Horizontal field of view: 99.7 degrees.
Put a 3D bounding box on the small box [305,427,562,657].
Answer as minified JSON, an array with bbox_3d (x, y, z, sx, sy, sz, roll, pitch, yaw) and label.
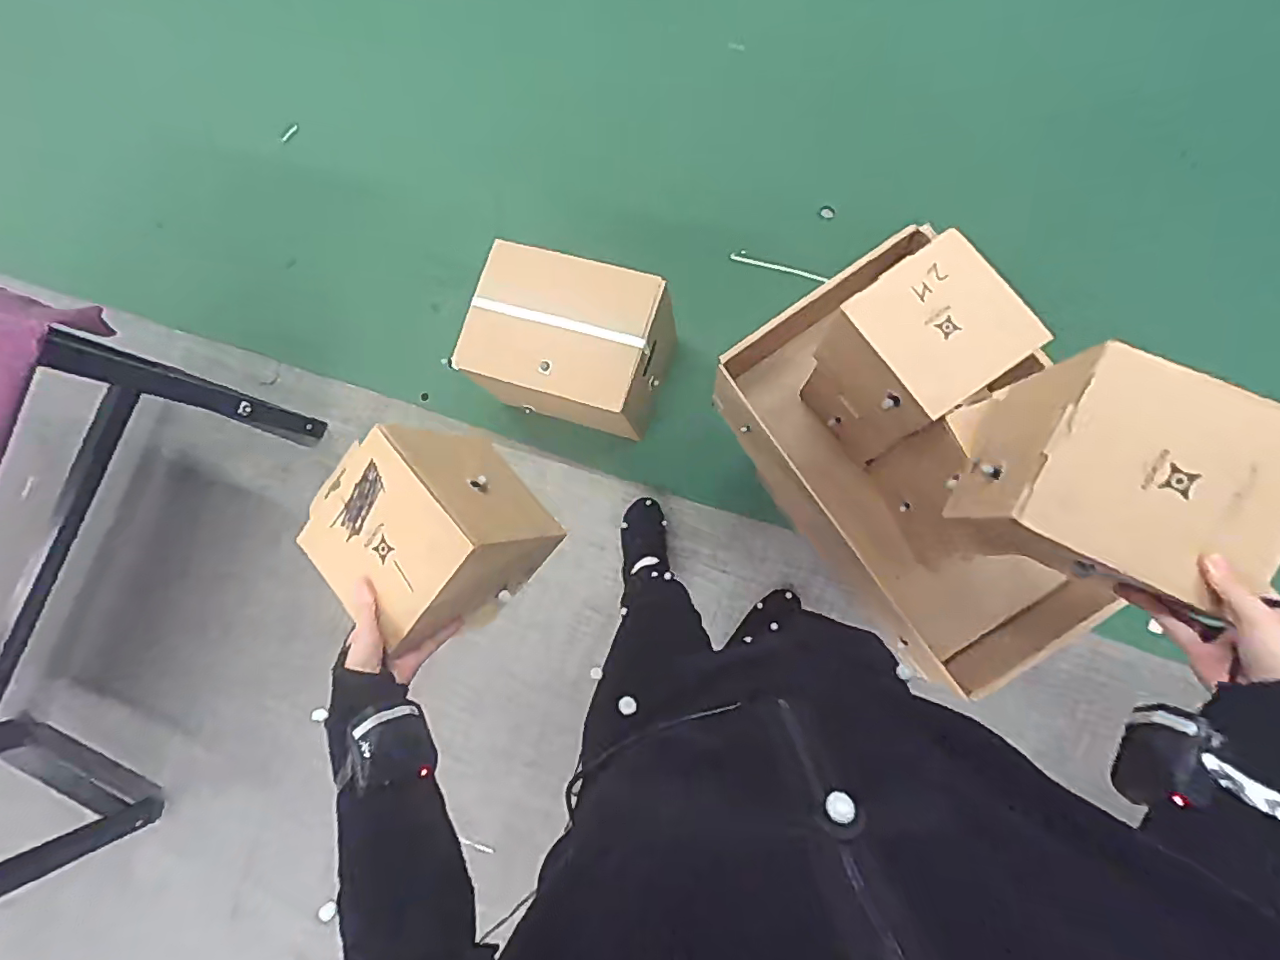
[{"bbox_3d":[-0.226,0.065,0.616,0.179,0.176,0.168,45,105,18],"label":"small box"}]

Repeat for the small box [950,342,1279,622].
[{"bbox_3d":[0.425,0.003,0.496,0.179,0.176,0.168,28,93,13],"label":"small box"}]
